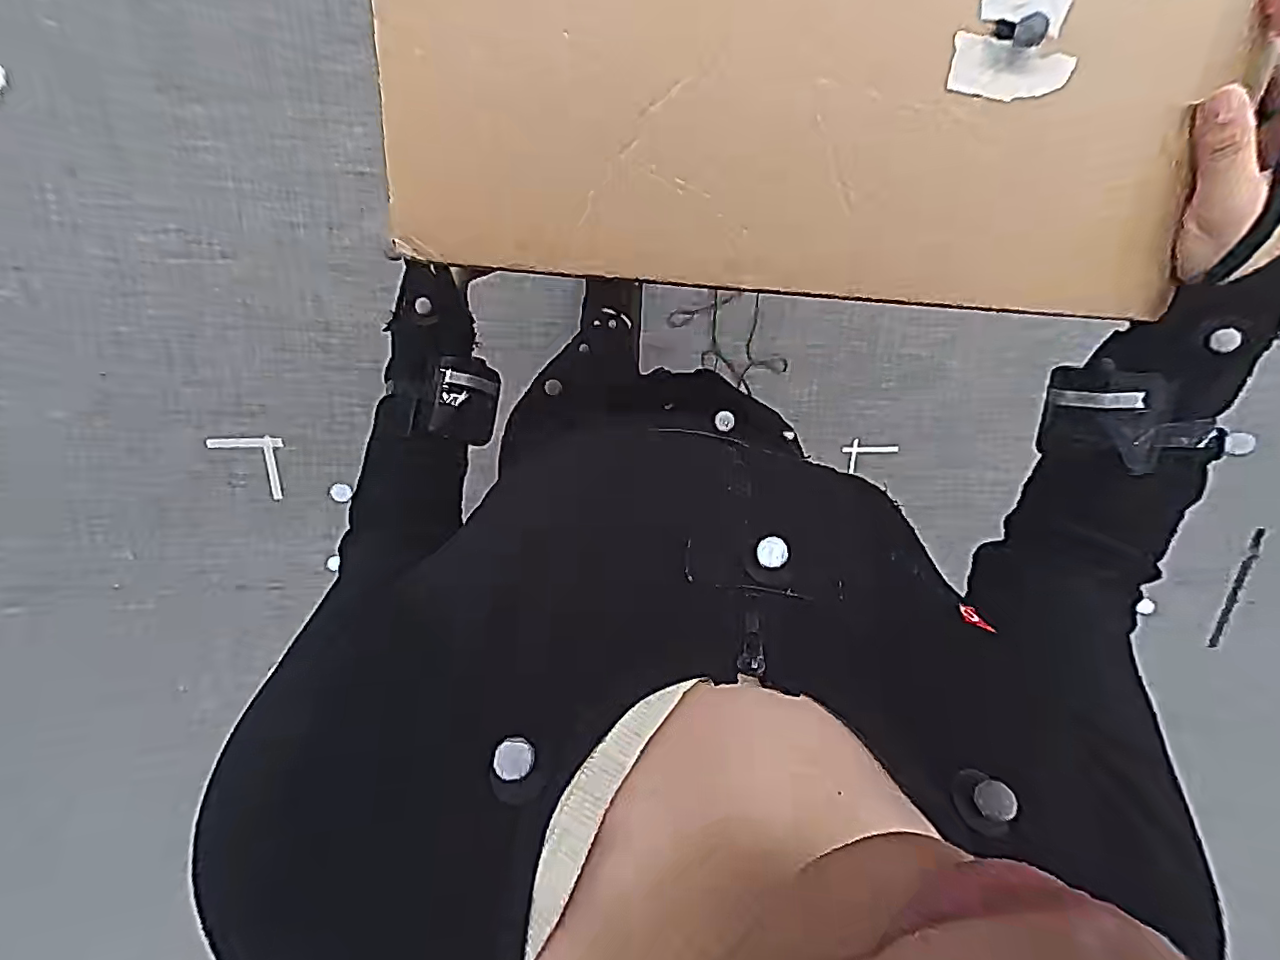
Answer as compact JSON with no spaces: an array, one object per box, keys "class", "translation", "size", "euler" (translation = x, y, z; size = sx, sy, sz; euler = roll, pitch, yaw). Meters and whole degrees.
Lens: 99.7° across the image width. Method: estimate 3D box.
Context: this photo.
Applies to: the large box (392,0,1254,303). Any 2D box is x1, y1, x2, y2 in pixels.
[{"class":"large box","translation":[0.076,-0.299,0.364],"size":[0.408,0.320,0.320],"euler":[1,112,-9]}]
